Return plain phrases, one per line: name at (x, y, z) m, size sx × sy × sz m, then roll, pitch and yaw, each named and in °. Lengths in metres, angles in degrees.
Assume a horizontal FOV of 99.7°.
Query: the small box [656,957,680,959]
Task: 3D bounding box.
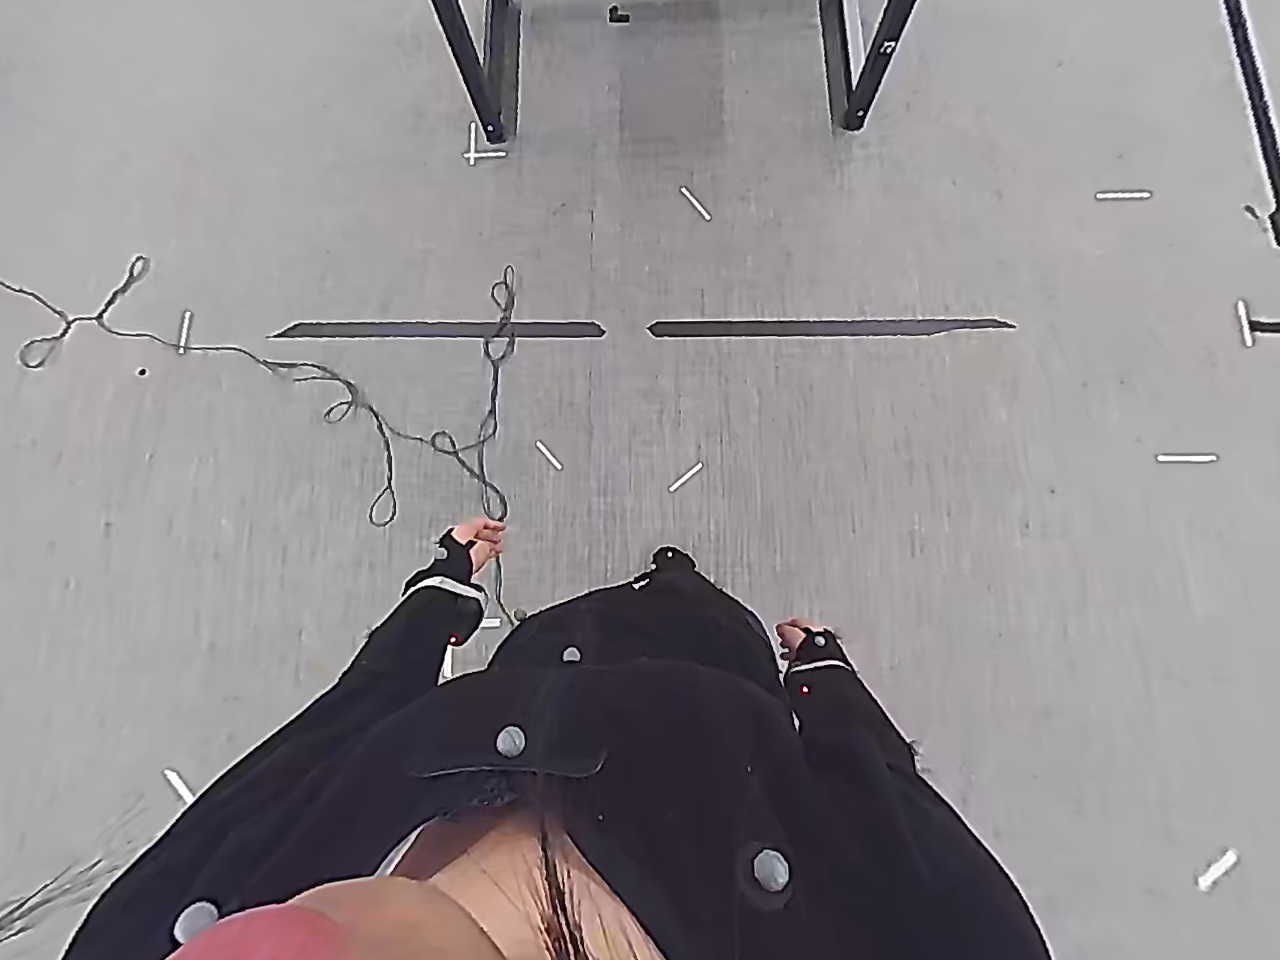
small box at (0.108, 1.237, 1.229) m, size 0.168 × 0.176 × 0.179 m, roll 2°, pitch 79°, yaw 3°
